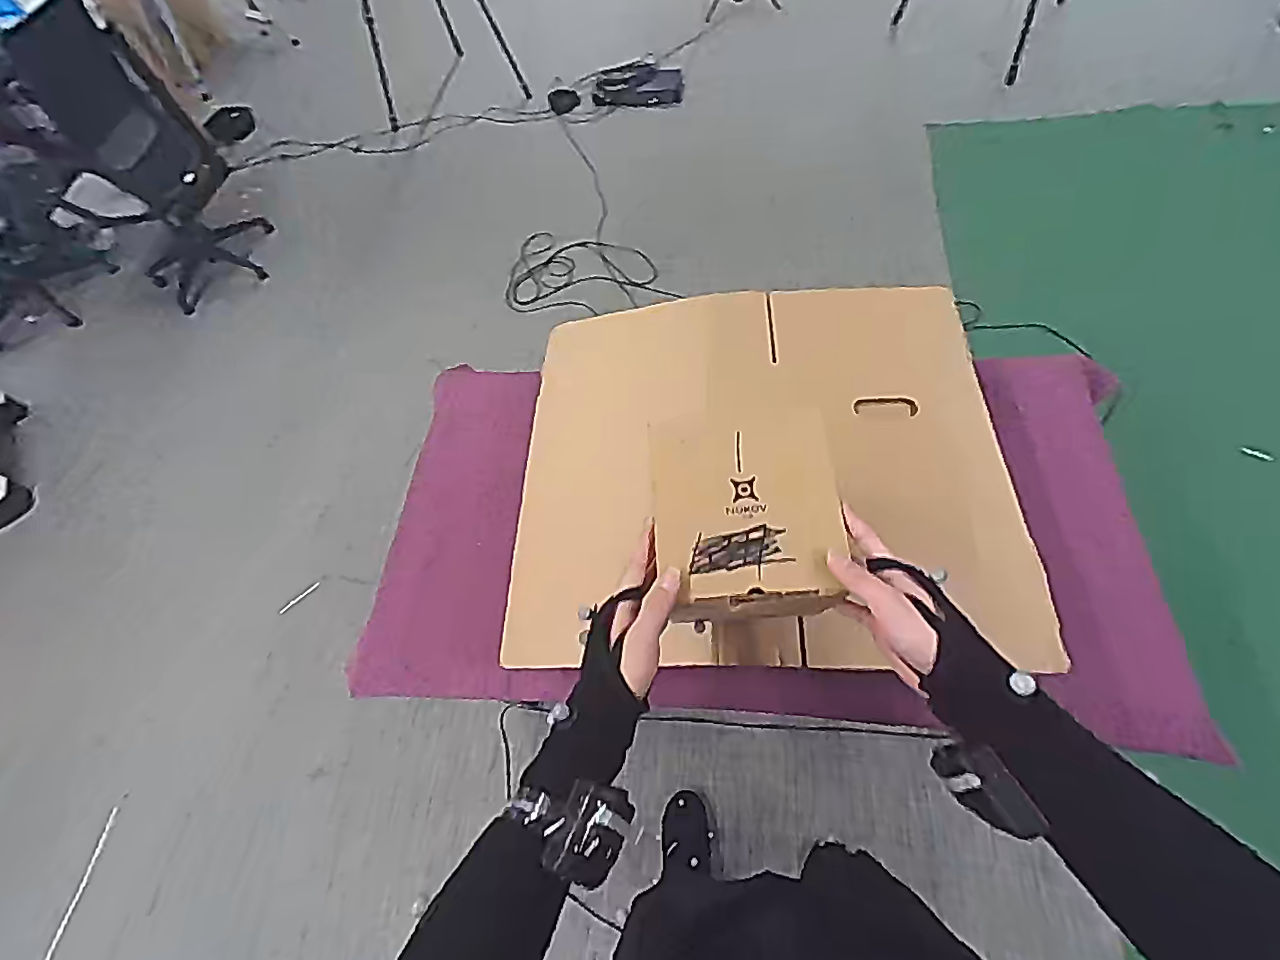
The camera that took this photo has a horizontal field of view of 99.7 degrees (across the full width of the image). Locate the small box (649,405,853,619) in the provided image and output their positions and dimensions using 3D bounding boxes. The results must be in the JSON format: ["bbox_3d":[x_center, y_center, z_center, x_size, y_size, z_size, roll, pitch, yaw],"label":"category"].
[{"bbox_3d":[0.102,0.045,0.551,0.168,0.176,0.179,-5,68,5],"label":"small box"}]
